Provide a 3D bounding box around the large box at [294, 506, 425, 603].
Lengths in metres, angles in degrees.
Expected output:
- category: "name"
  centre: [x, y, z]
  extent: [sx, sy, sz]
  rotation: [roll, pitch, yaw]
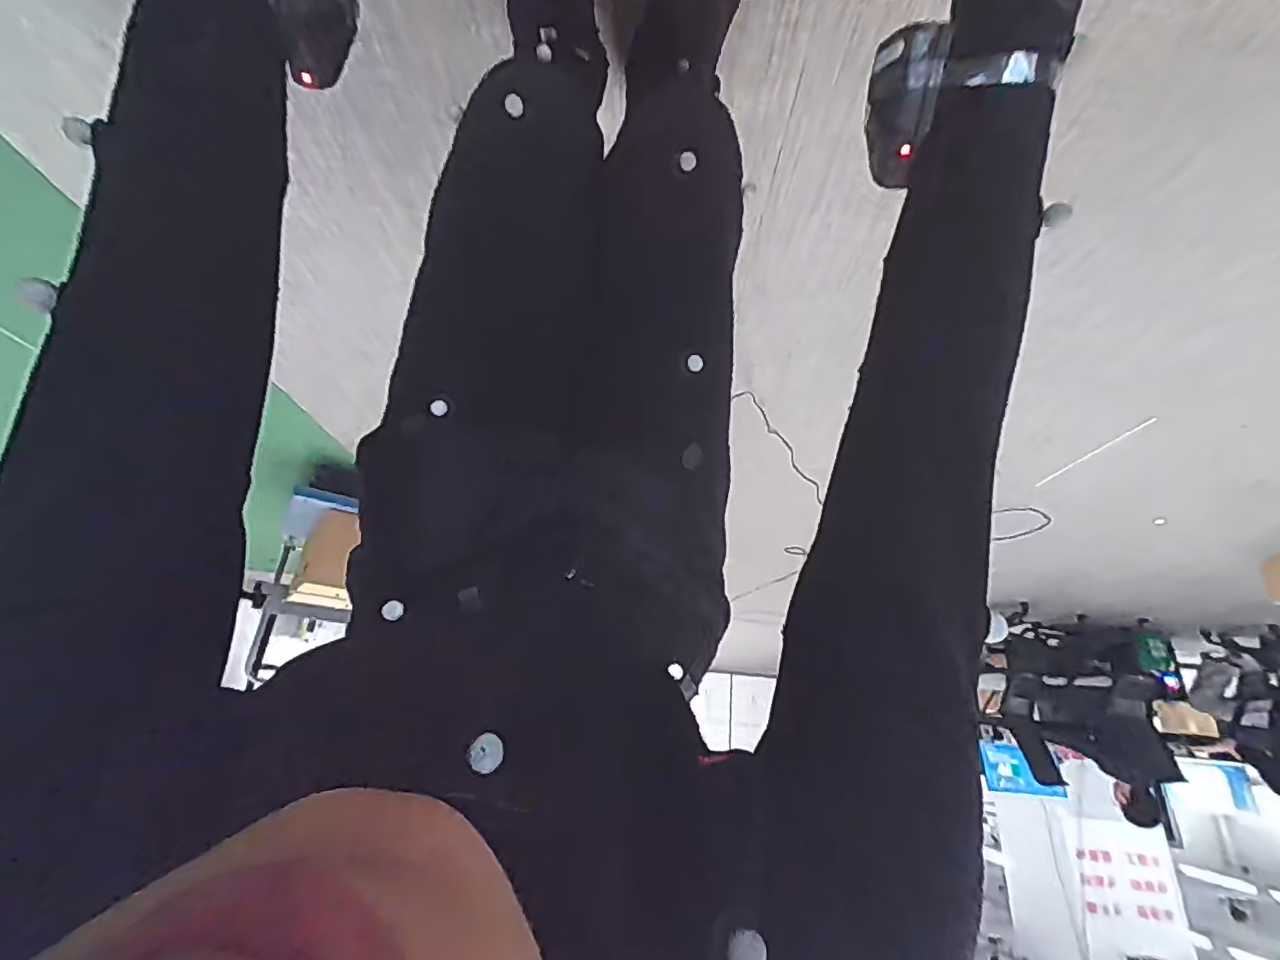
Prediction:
- category: "large box"
  centre: [-1.197, 0.333, 2.325]
  extent: [0.408, 0.320, 0.320]
  rotation: [21, 154, -32]
